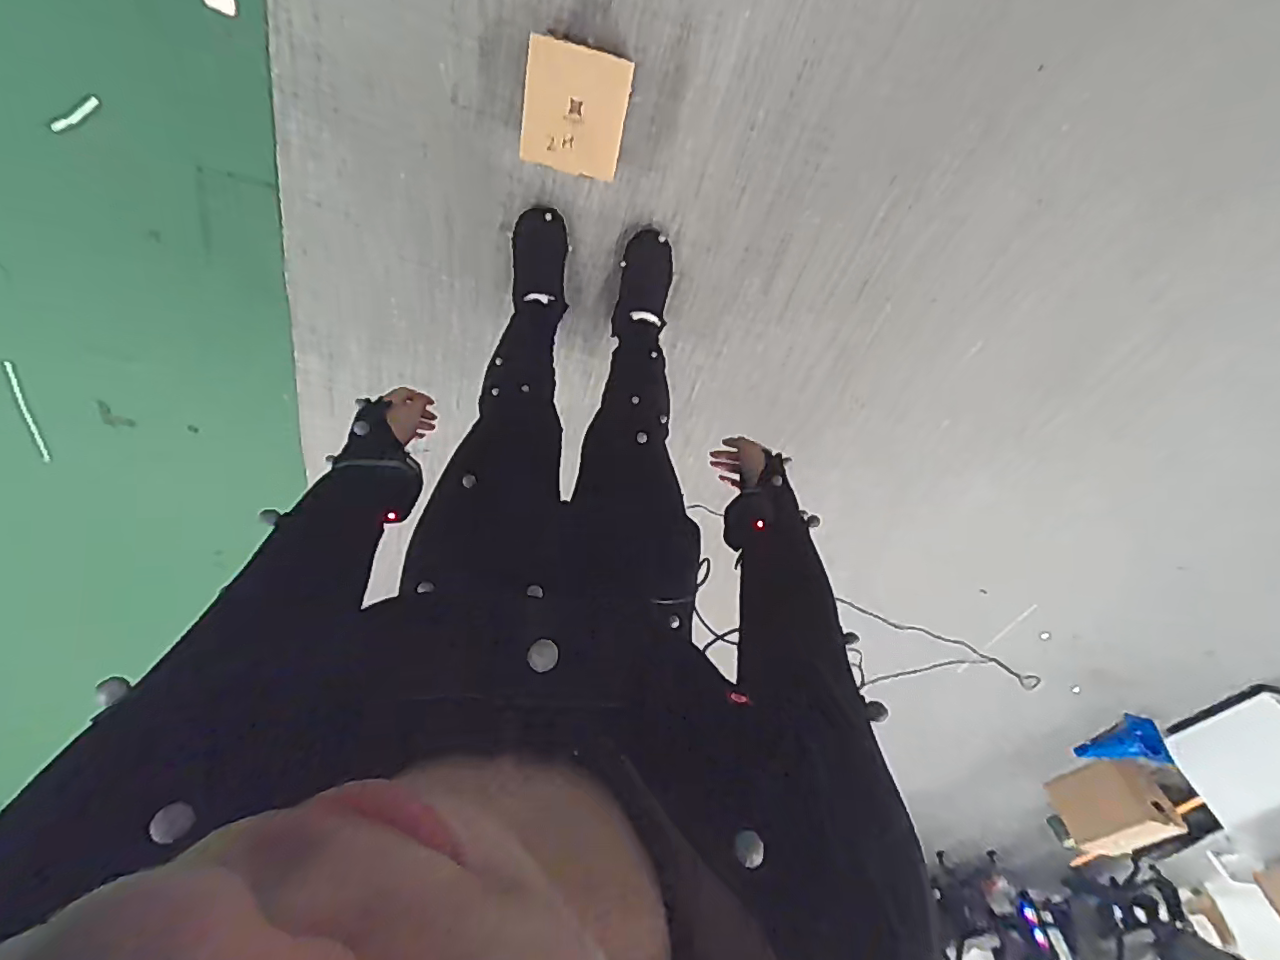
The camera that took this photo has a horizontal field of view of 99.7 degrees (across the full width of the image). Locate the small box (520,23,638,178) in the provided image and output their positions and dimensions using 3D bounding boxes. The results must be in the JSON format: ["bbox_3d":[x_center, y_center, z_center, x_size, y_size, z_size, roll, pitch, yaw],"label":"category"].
[{"bbox_3d":[-0.106,-0.650,0.931,0.168,0.176,0.179,10,128,-10],"label":"small box"}]
